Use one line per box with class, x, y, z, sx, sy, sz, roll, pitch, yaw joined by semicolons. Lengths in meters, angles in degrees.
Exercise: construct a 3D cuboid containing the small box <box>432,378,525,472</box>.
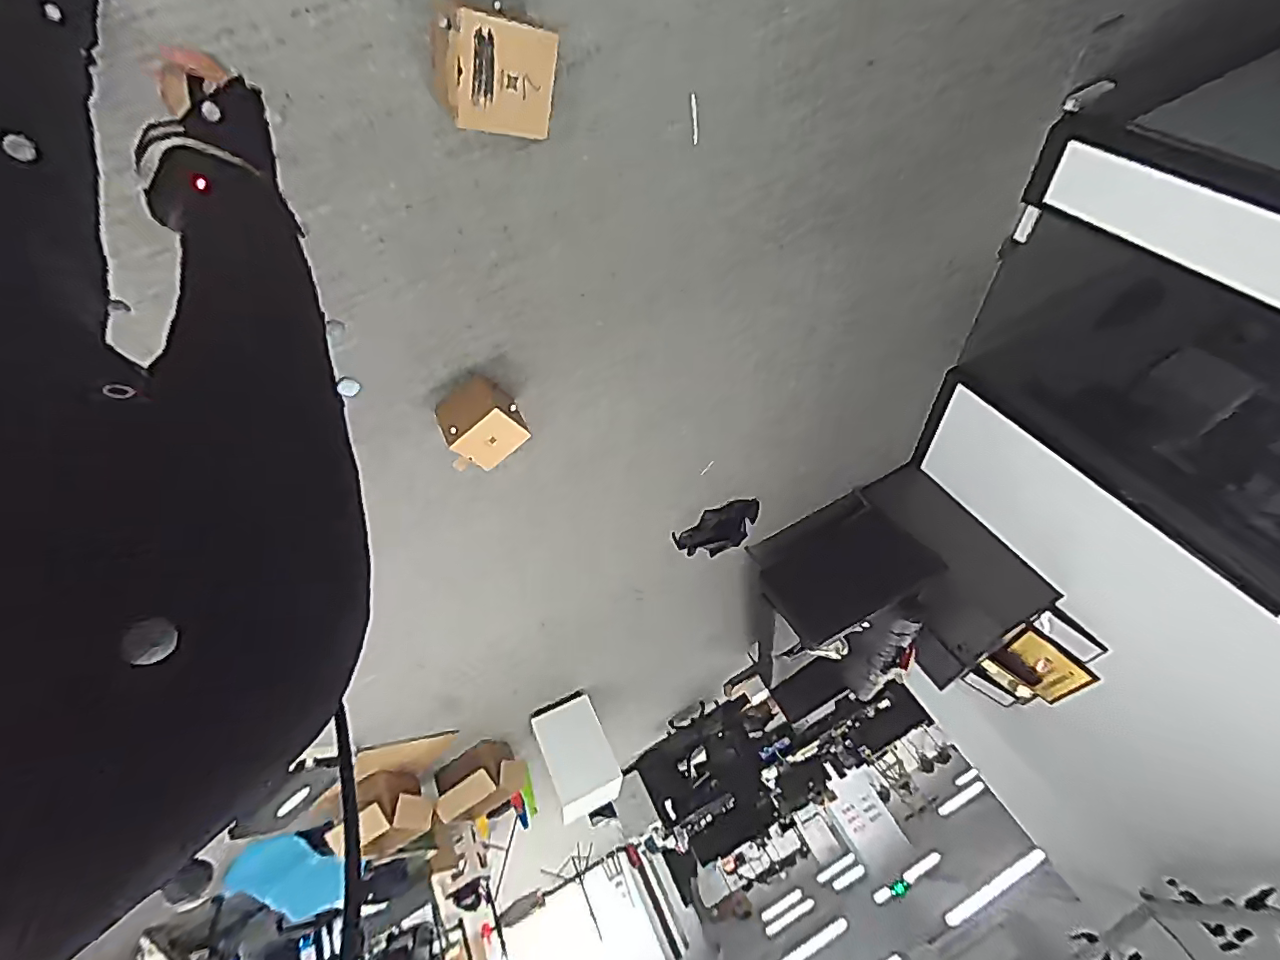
small box;-0.470;-0.160;1.556;0.179;0.176;0.168;-38;146;7
